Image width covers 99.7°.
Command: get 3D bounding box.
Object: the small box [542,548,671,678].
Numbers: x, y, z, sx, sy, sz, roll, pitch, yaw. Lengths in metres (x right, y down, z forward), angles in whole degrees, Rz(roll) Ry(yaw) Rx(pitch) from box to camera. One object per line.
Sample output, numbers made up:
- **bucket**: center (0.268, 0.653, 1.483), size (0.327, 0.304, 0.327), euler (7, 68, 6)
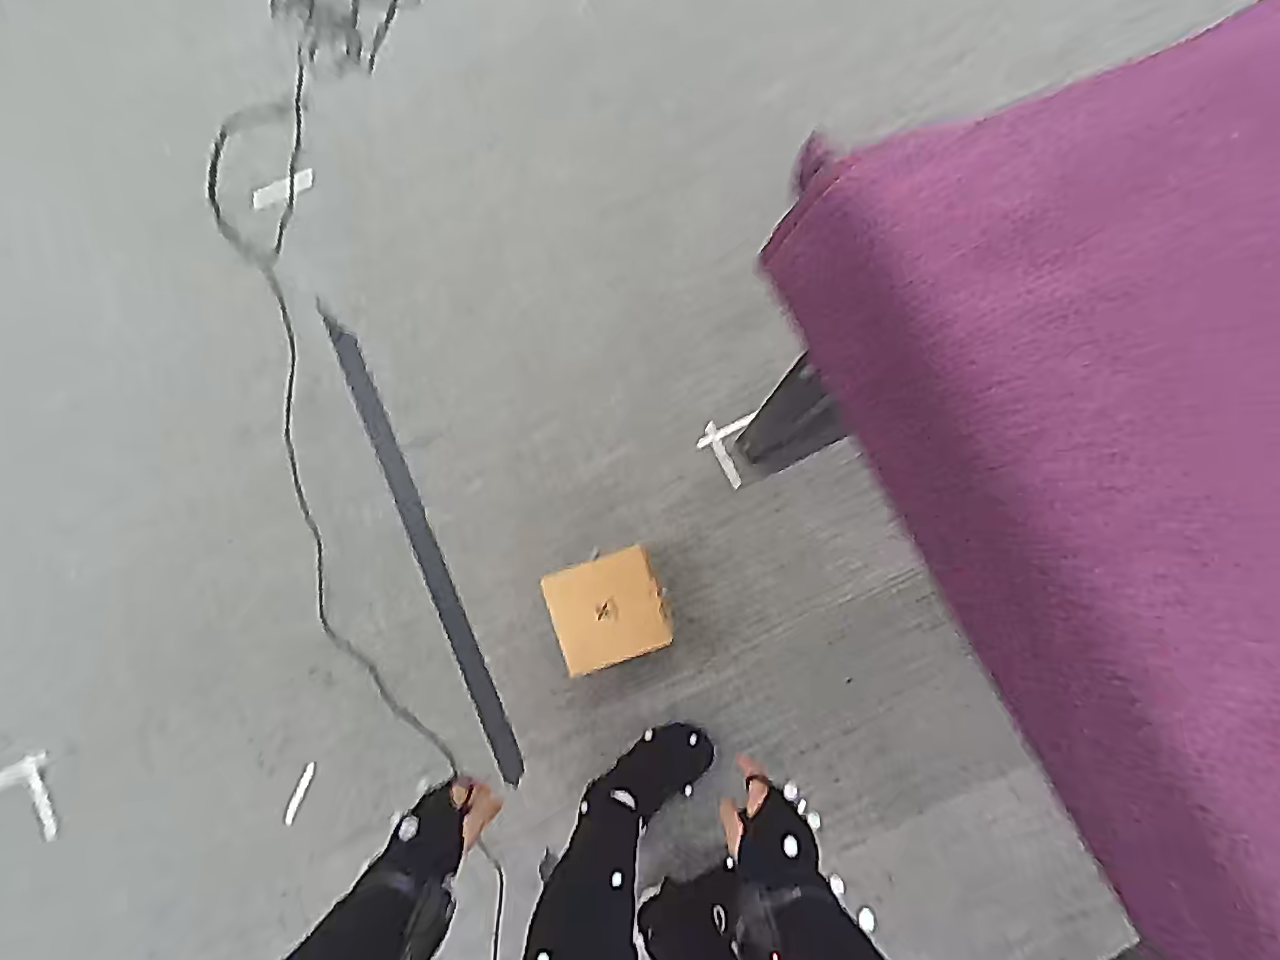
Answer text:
- **small box**: center (-0.051, 0.227, 0.954), size (0.179, 0.176, 0.168), euler (-20, 83, 0)
